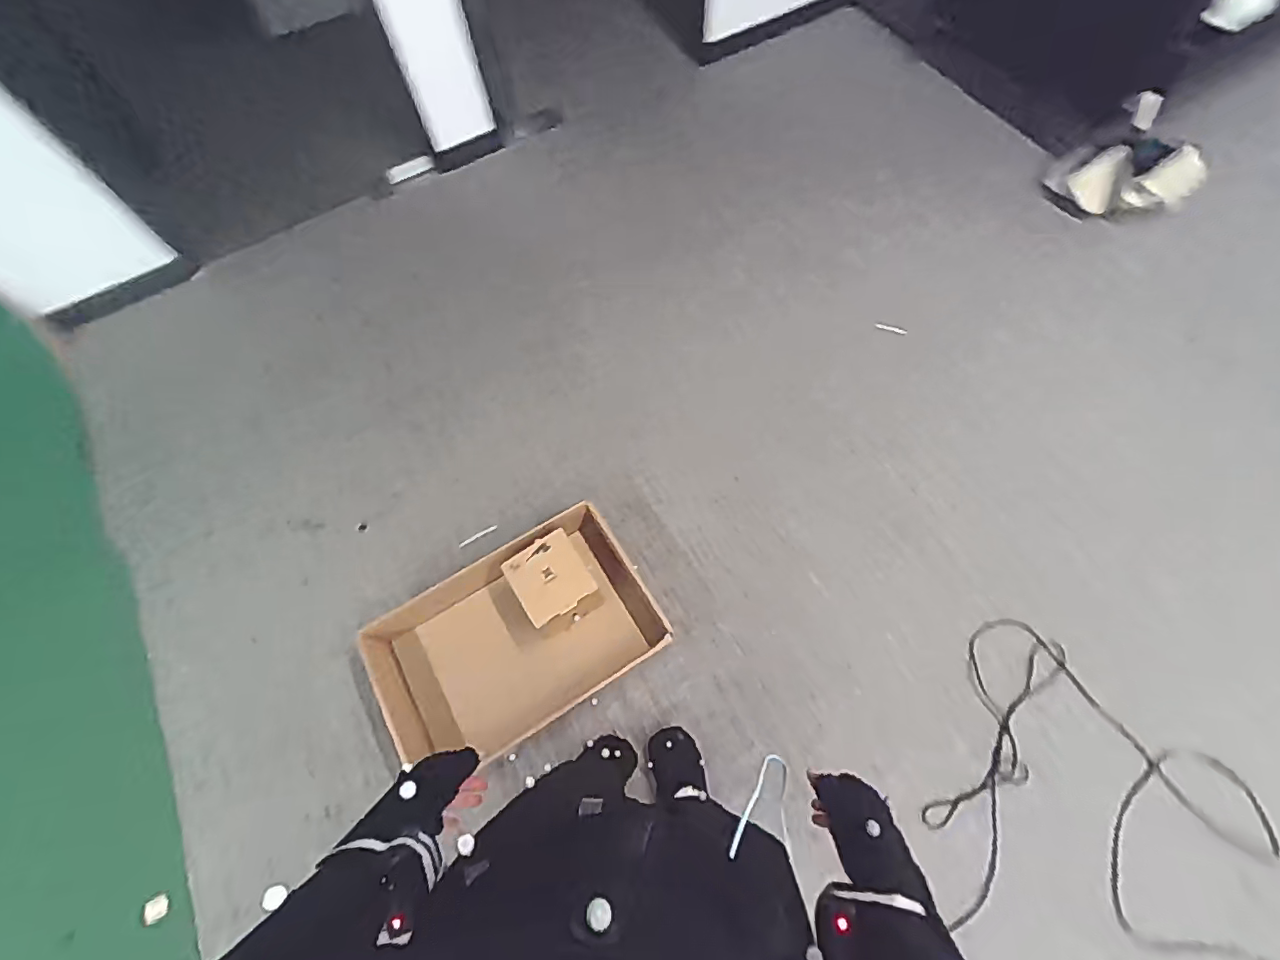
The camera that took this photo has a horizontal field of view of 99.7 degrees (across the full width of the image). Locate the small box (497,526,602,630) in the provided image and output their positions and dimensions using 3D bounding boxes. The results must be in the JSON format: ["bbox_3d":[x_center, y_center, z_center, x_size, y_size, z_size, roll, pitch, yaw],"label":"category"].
[{"bbox_3d":[-0.208,0.242,1.295,0.168,0.176,0.179,-35,69,-10],"label":"small box"}]
